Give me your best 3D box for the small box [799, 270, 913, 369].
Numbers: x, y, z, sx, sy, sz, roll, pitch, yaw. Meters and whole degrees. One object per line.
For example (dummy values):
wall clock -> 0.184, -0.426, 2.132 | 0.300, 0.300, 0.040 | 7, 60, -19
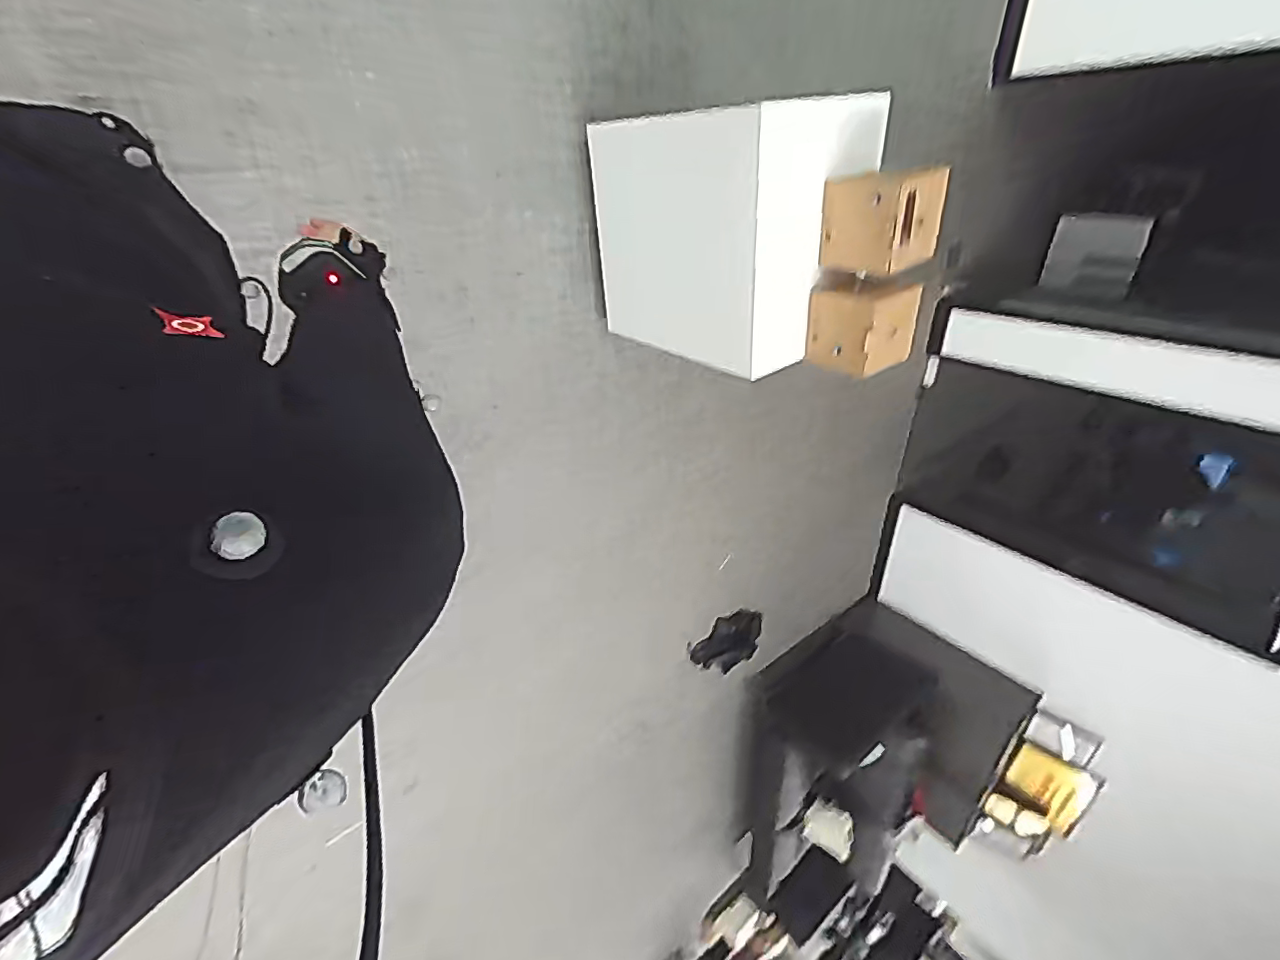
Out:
small box -> 0.486, -0.372, 1.235 | 0.179, 0.176, 0.168 | -27, 130, -29
